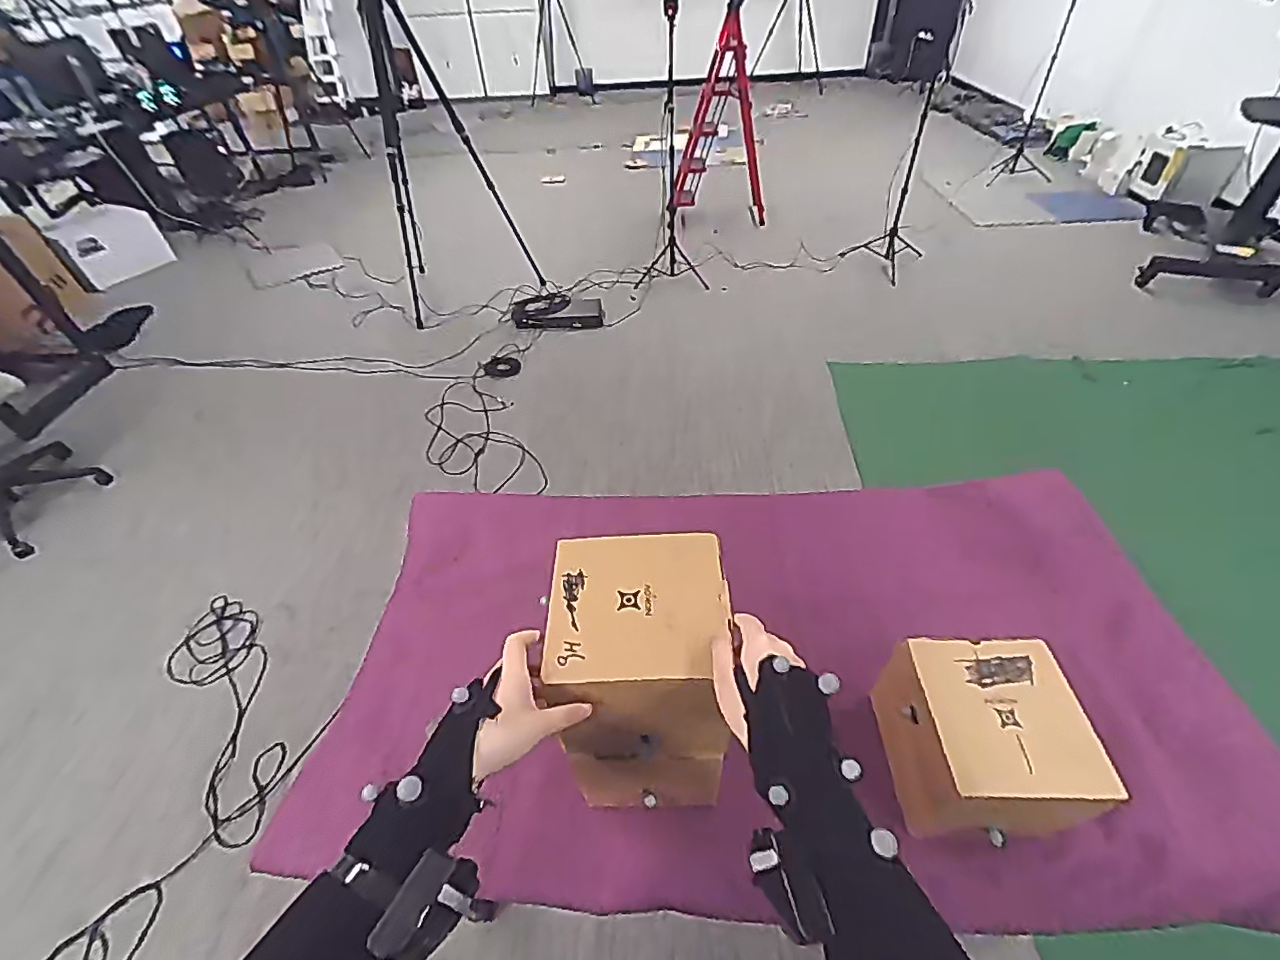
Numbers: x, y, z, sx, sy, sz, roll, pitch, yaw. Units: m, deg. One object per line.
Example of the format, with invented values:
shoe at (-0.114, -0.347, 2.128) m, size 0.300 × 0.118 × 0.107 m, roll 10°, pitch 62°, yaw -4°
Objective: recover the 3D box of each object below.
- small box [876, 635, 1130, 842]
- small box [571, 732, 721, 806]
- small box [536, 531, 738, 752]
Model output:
small box at (0.402, 0.306, 0.644) m, size 0.168 × 0.176 × 0.179 m, roll -1°, pitch 45°, yaw 4°
small box at (0.009, 0.289, 0.686) m, size 0.168 × 0.176 × 0.179 m, roll -2°, pitch 43°, yaw 3°
small box at (0.000, 0.171, 0.572) m, size 0.179 × 0.176 × 0.168 m, roll -2°, pitch 43°, yaw 1°
